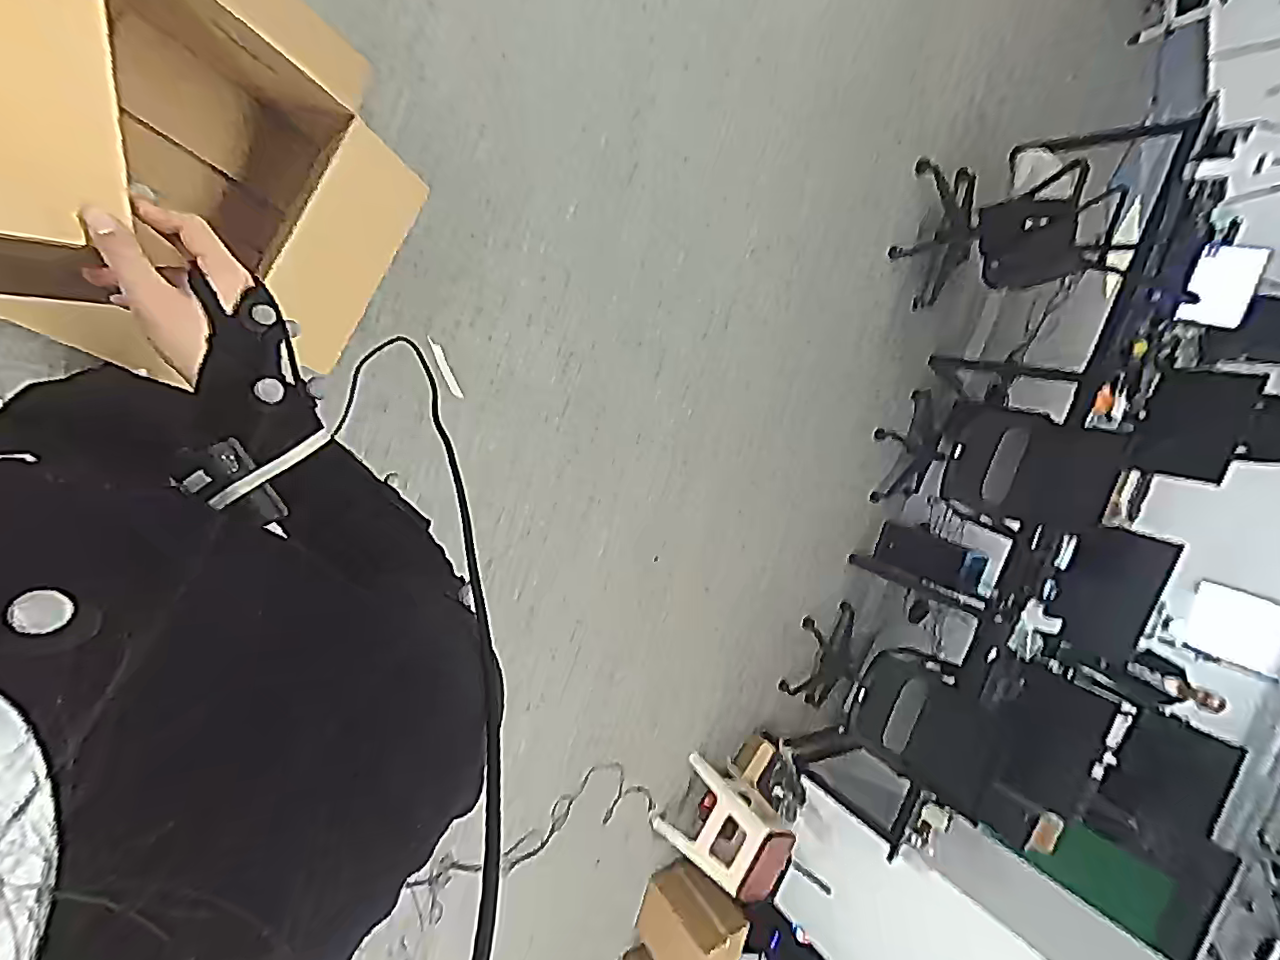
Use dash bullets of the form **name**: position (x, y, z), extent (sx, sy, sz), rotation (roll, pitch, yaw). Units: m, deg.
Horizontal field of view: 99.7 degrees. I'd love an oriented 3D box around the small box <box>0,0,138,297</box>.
- **small box**: position (-0.419, -0.209, 0.308), extent (0.179, 0.176, 0.168), rotation (-8, 99, -43)
